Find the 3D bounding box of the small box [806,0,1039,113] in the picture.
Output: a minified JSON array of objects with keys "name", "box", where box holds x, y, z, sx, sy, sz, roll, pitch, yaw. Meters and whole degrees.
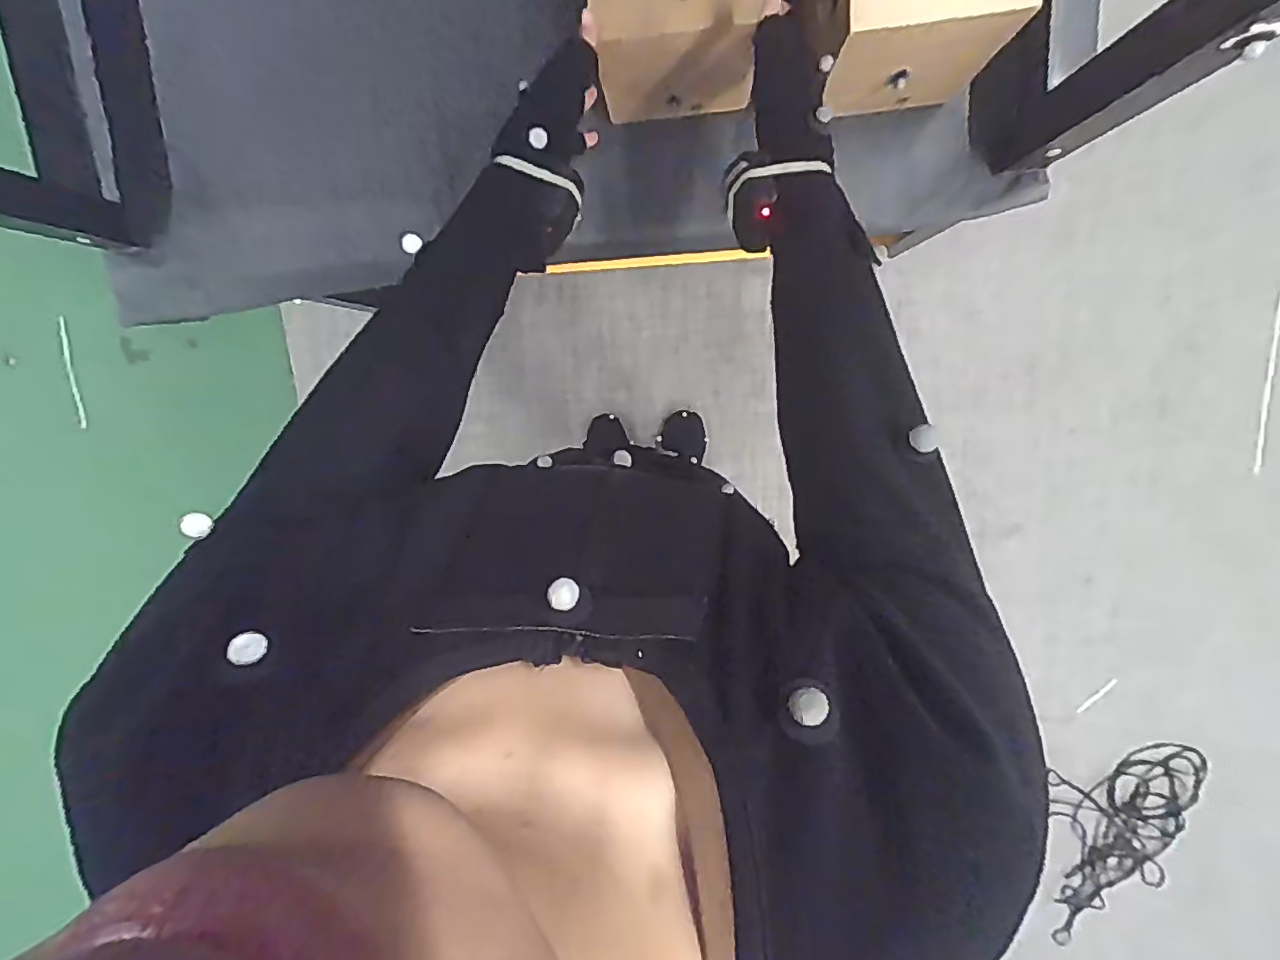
[{"name":"small box","box":[0.270,-0.503,0.547,0.168,0.176,0.179,-4,100,5]}]
